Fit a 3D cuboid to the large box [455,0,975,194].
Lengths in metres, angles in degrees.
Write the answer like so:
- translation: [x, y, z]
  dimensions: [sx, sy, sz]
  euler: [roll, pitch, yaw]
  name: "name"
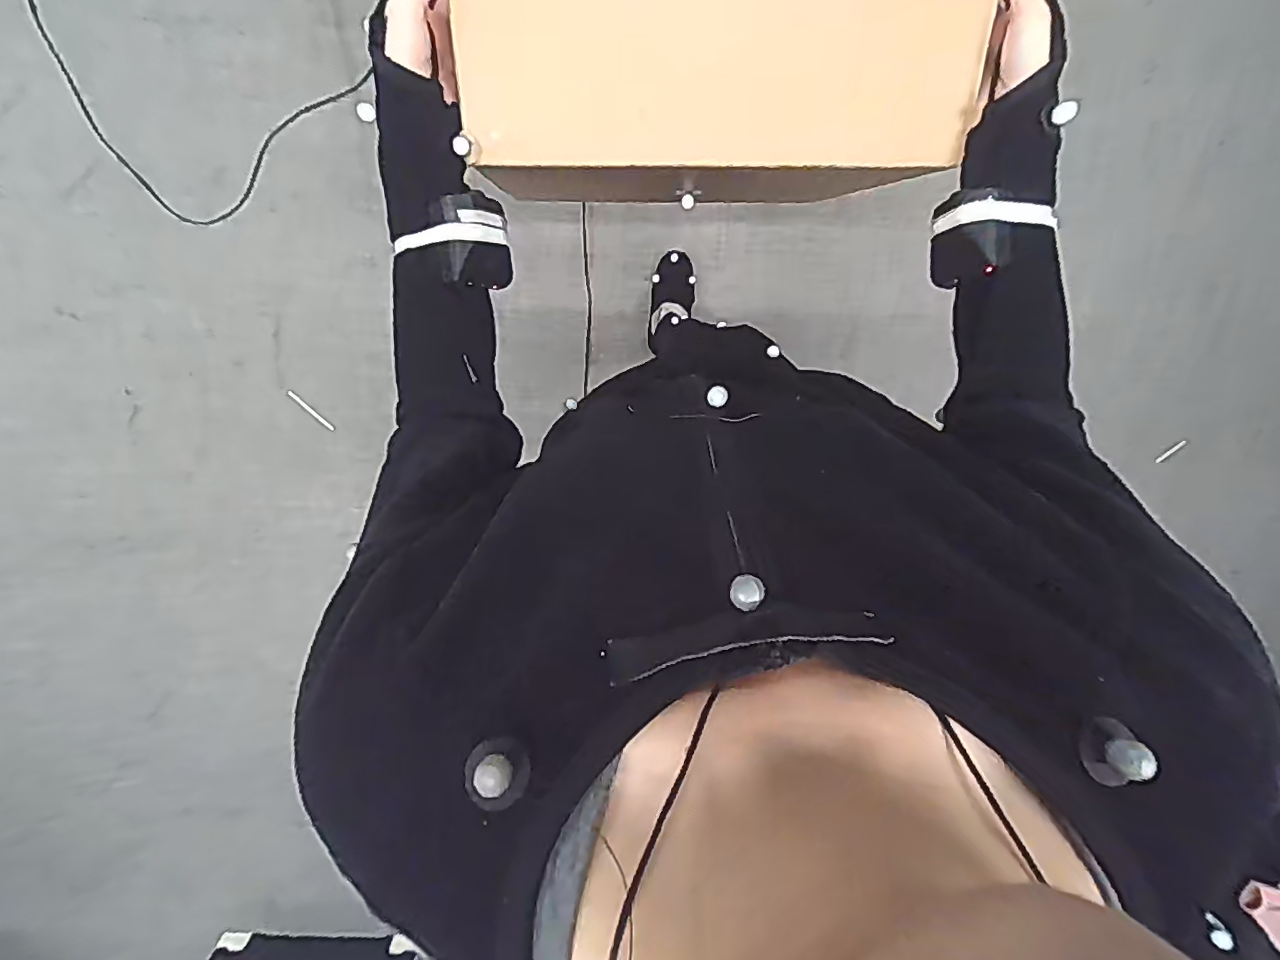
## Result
- translation: [0.051, -0.463, 0.522]
  dimensions: [0.408, 0.320, 0.320]
  euler: [-3, 112, -4]
  name: "large box"
